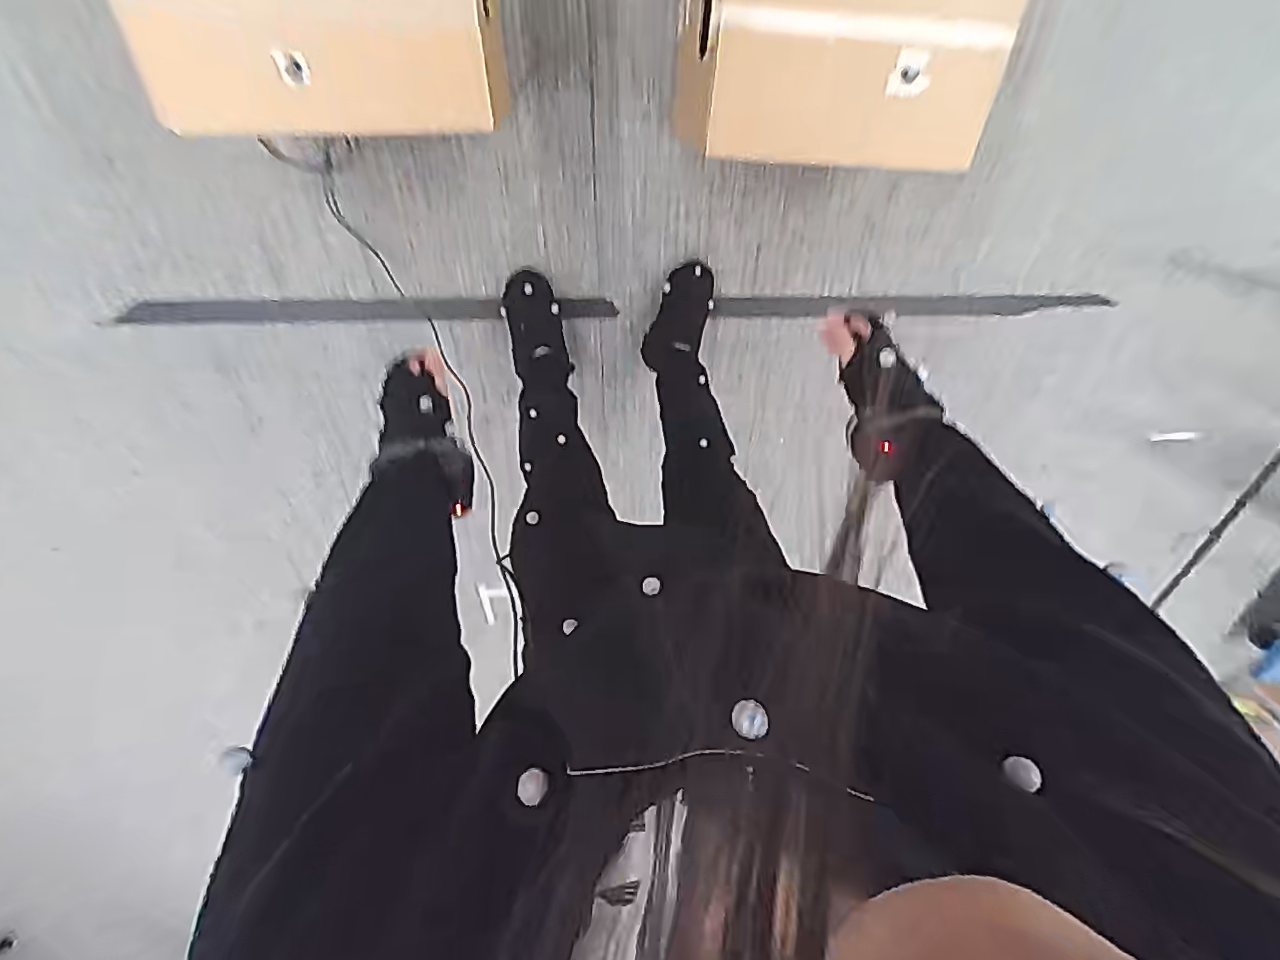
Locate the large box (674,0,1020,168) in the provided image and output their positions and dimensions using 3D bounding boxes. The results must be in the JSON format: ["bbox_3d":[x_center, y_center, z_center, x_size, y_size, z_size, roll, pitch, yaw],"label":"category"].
[{"bbox_3d":[0.281,-0.677,0.832,0.408,0.320,0.320,-1,125,-8],"label":"large box"}]
